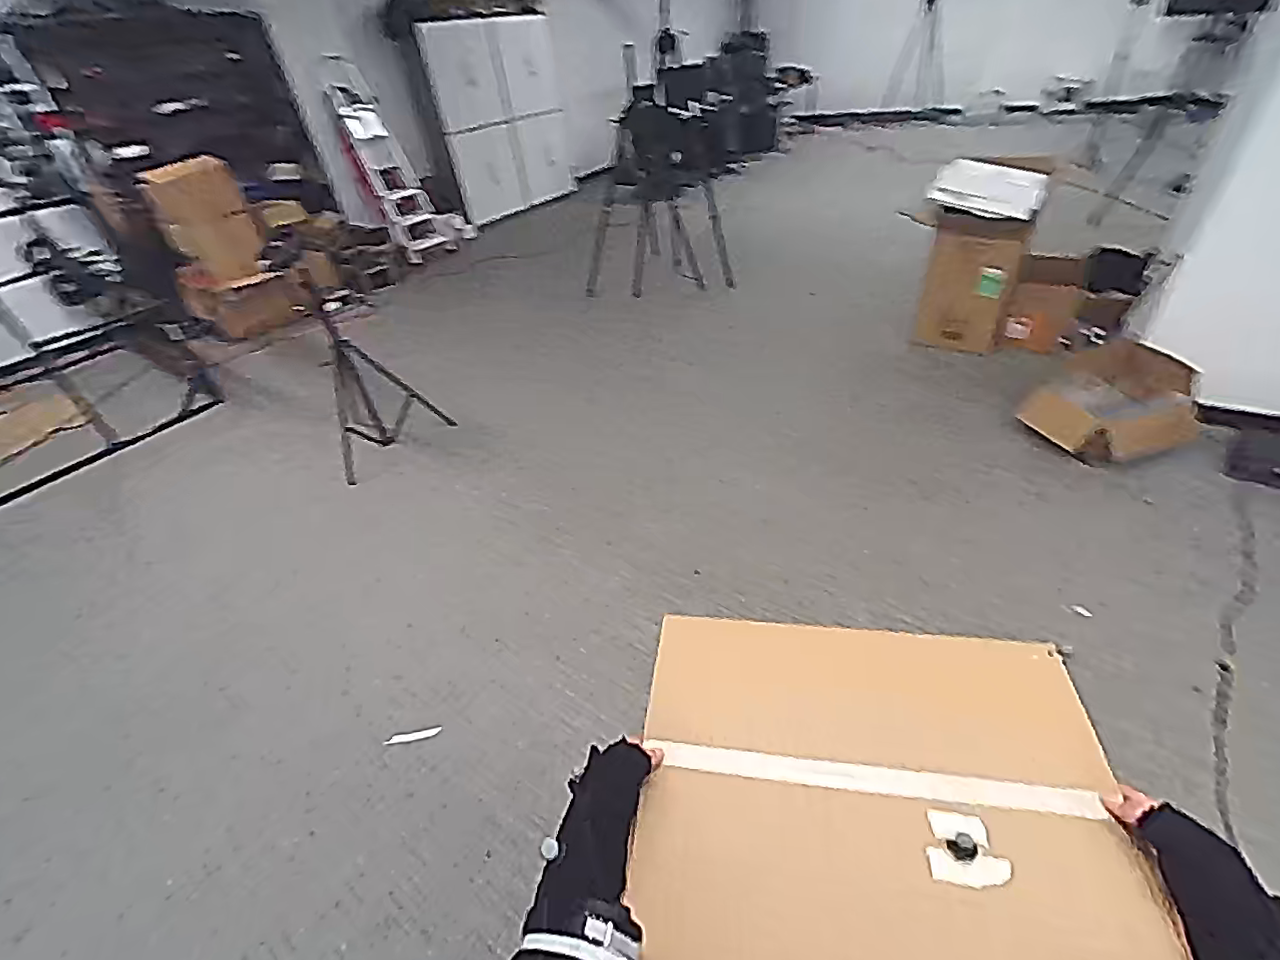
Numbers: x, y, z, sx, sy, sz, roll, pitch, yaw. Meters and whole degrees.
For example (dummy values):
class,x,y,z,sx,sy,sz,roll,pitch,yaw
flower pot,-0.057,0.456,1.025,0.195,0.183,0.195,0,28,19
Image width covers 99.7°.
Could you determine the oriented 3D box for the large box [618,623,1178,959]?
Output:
class,x,y,z,sx,sy,sz,roll,pitch,yaw
large box,0.211,0.382,0.583,0.408,0.320,0.320,1,41,11
